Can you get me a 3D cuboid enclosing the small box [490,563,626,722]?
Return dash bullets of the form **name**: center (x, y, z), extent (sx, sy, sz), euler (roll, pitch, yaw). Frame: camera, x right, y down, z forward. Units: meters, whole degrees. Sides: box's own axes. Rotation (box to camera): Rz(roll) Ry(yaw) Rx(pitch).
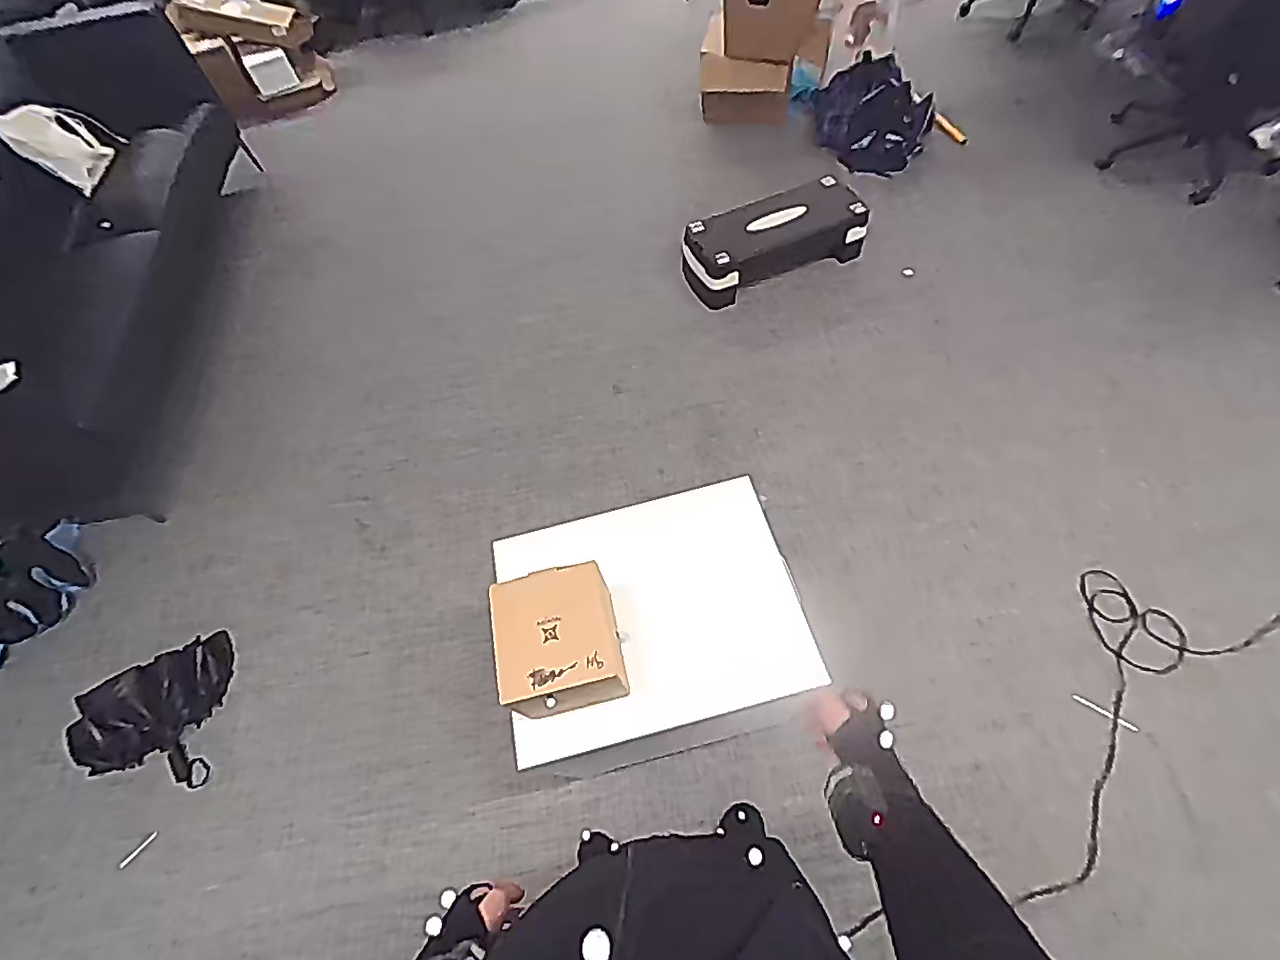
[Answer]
- **small box**: center (-0.123, 0.255, 0.838), extent (0.168, 0.176, 0.179), euler (-14, 58, -3)
